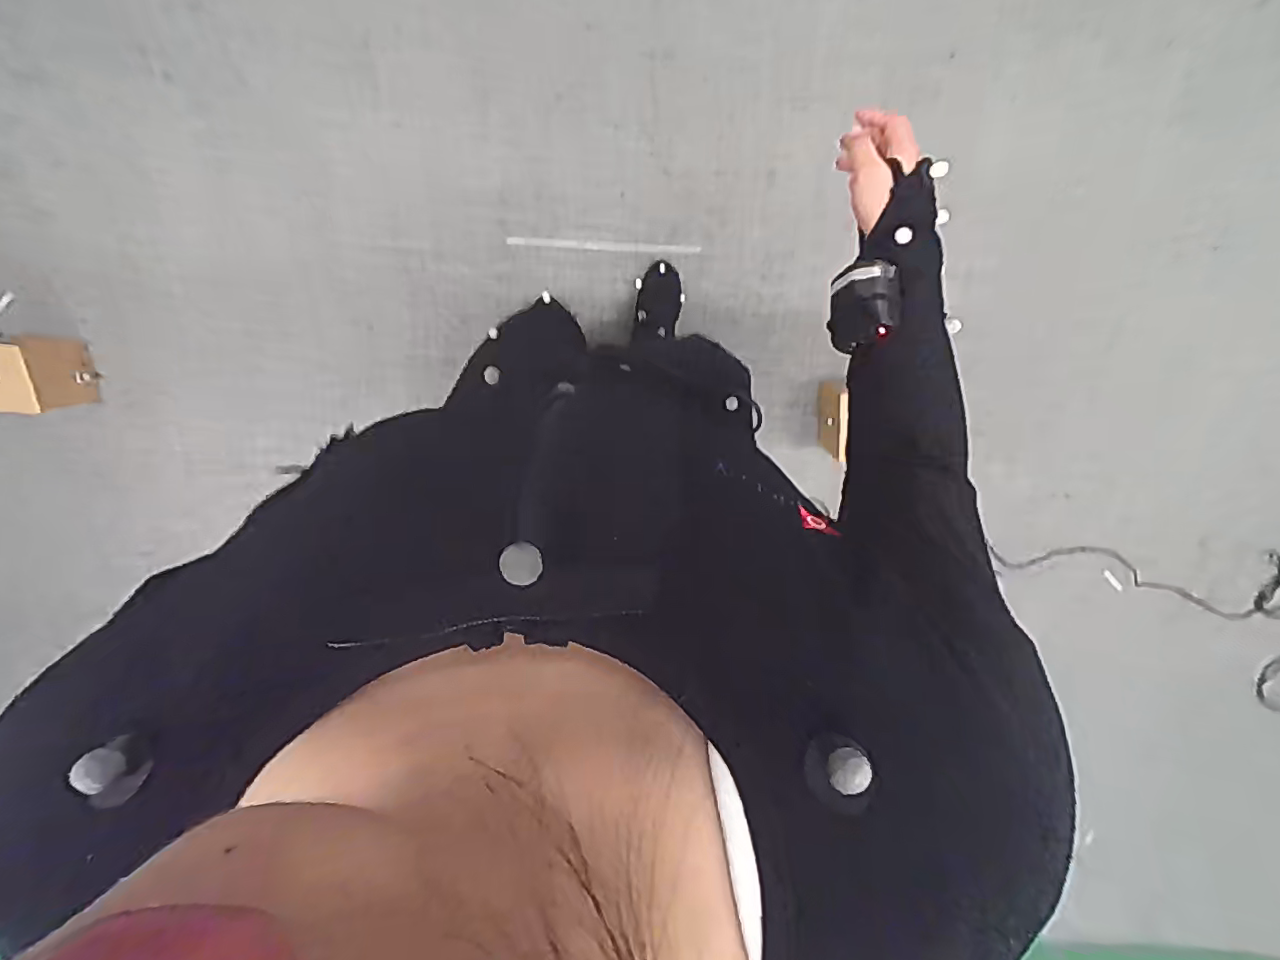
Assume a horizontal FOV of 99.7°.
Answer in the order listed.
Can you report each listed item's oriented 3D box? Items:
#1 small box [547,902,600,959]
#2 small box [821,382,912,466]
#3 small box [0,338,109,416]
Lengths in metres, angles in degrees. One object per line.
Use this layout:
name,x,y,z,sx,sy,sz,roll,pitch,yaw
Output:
small box,-0.246,1.712,2.007,0.179,0.176,0.168,4,109,-1
small box,0.567,-0.149,1.374,0.168,0.176,0.179,-5,111,3
small box,-1.540,-0.268,1.384,0.179,0.176,0.168,3,111,-1
